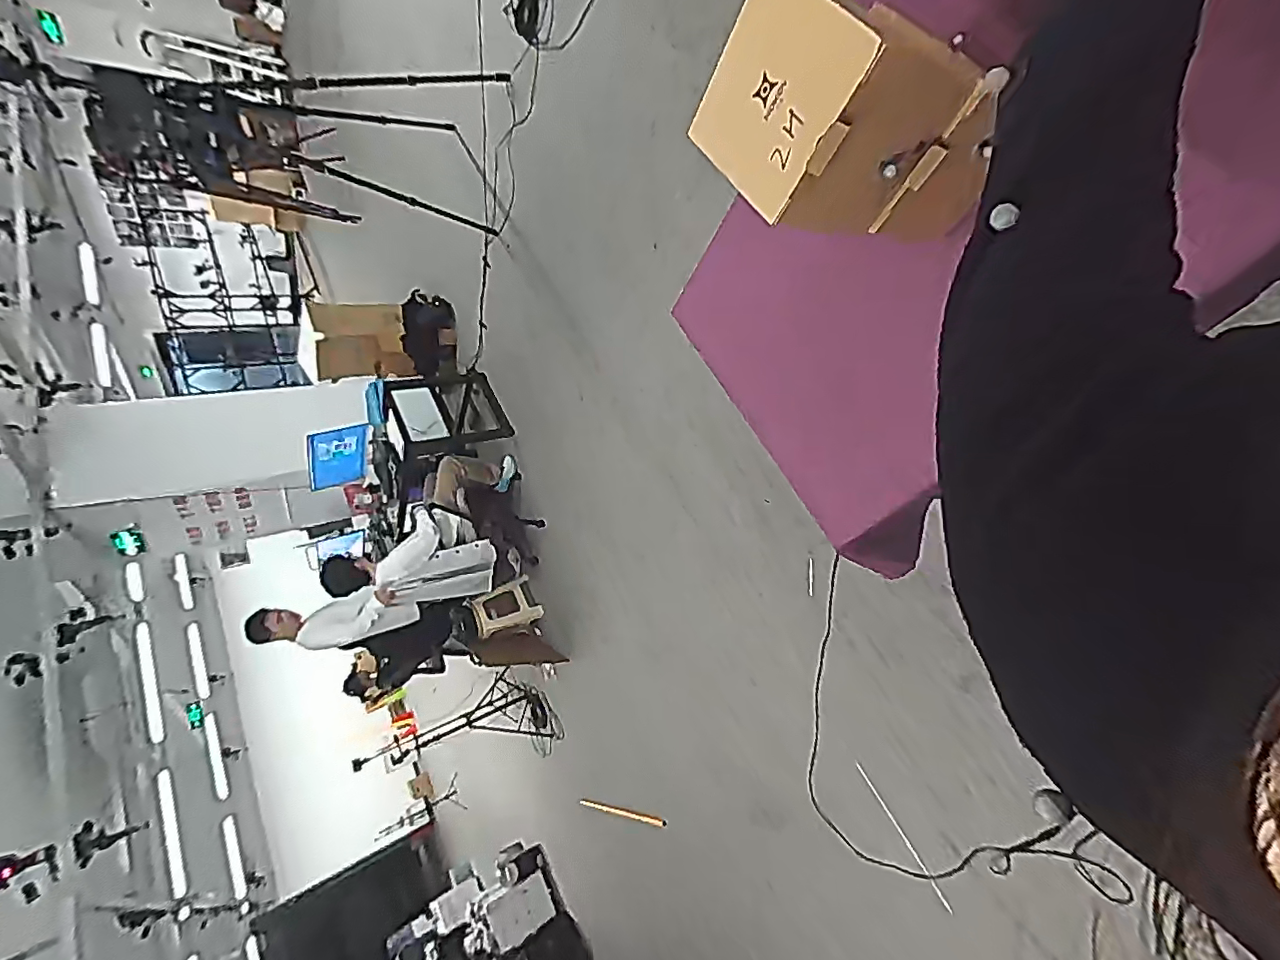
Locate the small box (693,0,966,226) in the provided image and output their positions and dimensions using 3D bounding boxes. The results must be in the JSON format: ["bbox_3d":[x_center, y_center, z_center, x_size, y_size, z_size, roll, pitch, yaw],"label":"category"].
[{"bbox_3d":[0.195,-0.394,0.578,0.179,0.176,0.168,60,142,22],"label":"small box"}]

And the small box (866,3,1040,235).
[{"bbox_3d":[0.334,-0.424,0.662,0.179,0.176,0.168,60,142,22],"label":"small box"}]
